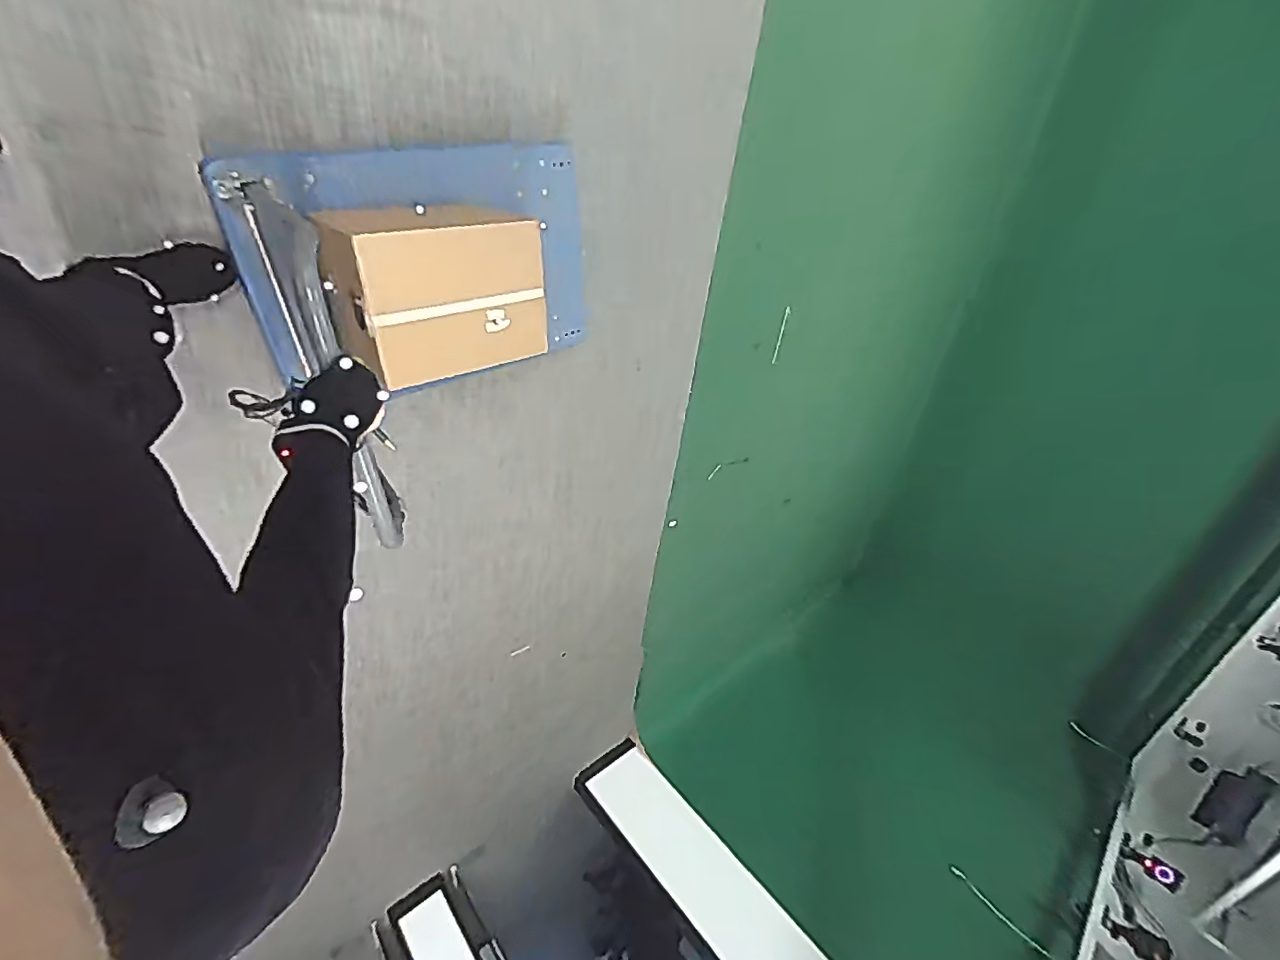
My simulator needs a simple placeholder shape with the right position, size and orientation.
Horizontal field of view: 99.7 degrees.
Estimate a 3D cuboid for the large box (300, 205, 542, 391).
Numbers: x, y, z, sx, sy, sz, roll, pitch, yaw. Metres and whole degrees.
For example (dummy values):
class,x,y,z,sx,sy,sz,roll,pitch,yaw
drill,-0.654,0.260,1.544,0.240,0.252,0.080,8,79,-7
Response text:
class,x,y,z,sx,sy,sz,roll,pitch,yaw
large box,-0.490,-0.447,1.262,0.408,0.320,0.320,-25,133,-35
